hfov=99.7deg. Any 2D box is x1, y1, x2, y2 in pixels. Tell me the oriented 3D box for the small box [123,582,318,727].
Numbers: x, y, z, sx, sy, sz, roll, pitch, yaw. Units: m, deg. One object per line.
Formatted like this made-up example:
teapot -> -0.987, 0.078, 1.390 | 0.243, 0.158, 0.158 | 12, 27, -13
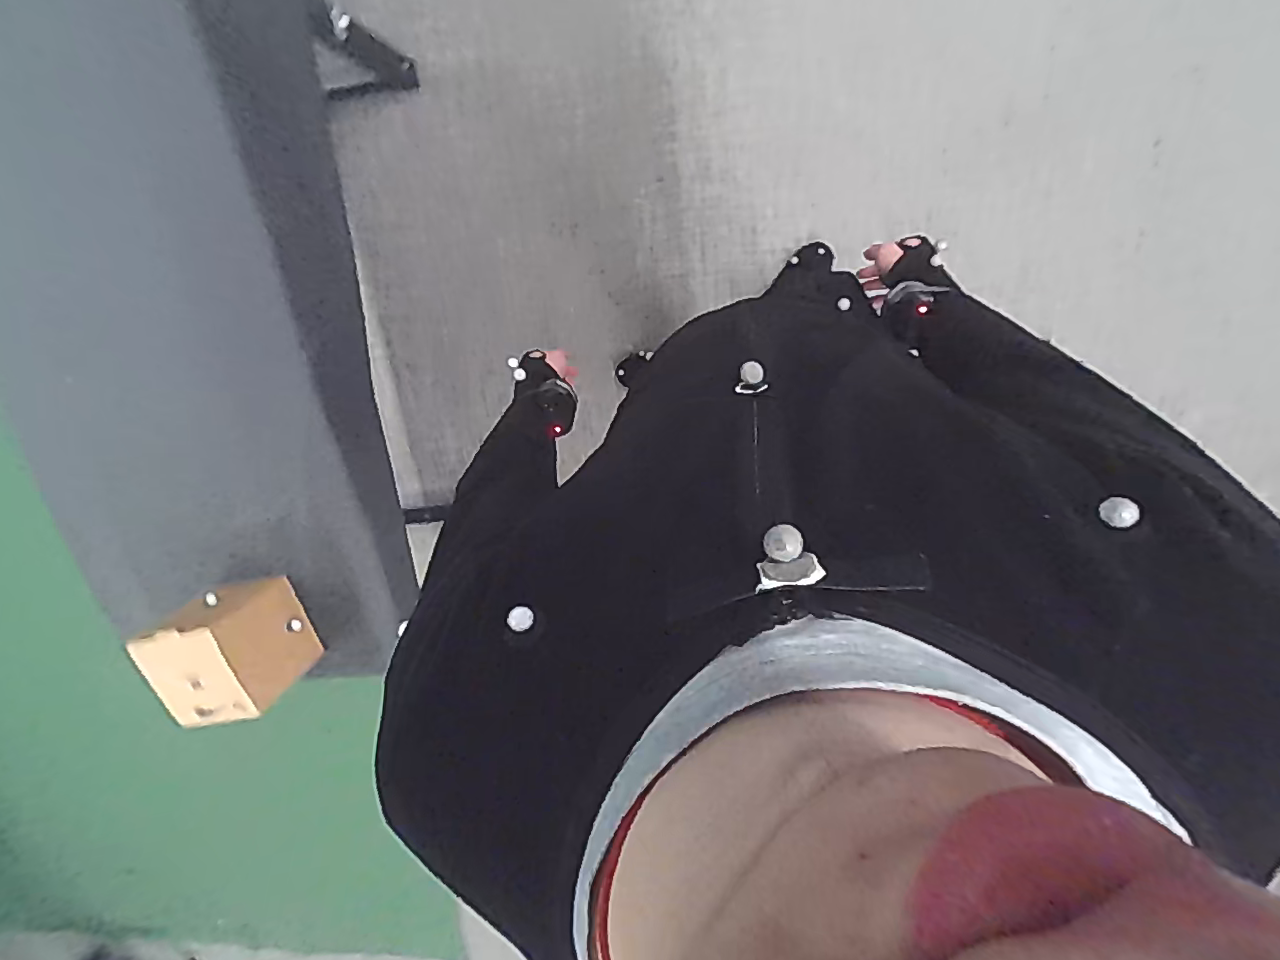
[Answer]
small box -> -0.712, 0.293, 0.941 | 0.168, 0.176, 0.179 | -11, 110, 10
